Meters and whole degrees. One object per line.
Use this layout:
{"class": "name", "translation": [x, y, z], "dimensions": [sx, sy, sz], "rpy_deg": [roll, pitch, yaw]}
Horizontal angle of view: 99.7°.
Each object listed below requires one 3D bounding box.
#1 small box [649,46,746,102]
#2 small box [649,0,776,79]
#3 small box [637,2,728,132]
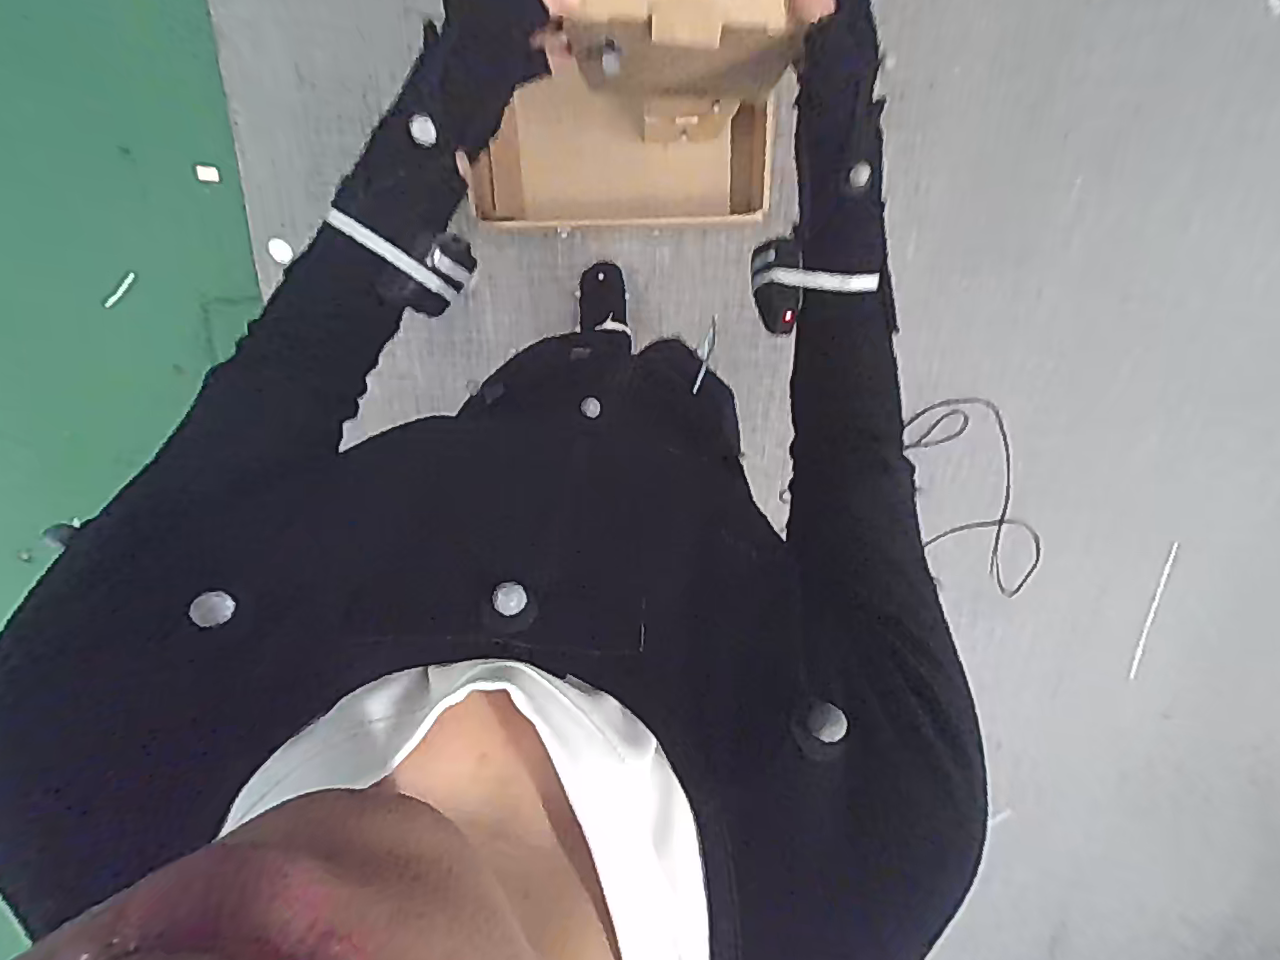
{"class": "small box", "translation": [0.100, -0.758, 0.908], "dimensions": [0.168, 0.176, 0.179], "rpy_deg": [-1, 110, 0]}
{"class": "small box", "translation": [0.100, -0.701, 0.772], "dimensions": [0.168, 0.176, 0.179], "rpy_deg": [0, 110, -1]}
{"class": "small box", "translation": [0.086, -0.818, 1.080], "dimensions": [0.168, 0.176, 0.179], "rpy_deg": [-5, 109, 3]}
